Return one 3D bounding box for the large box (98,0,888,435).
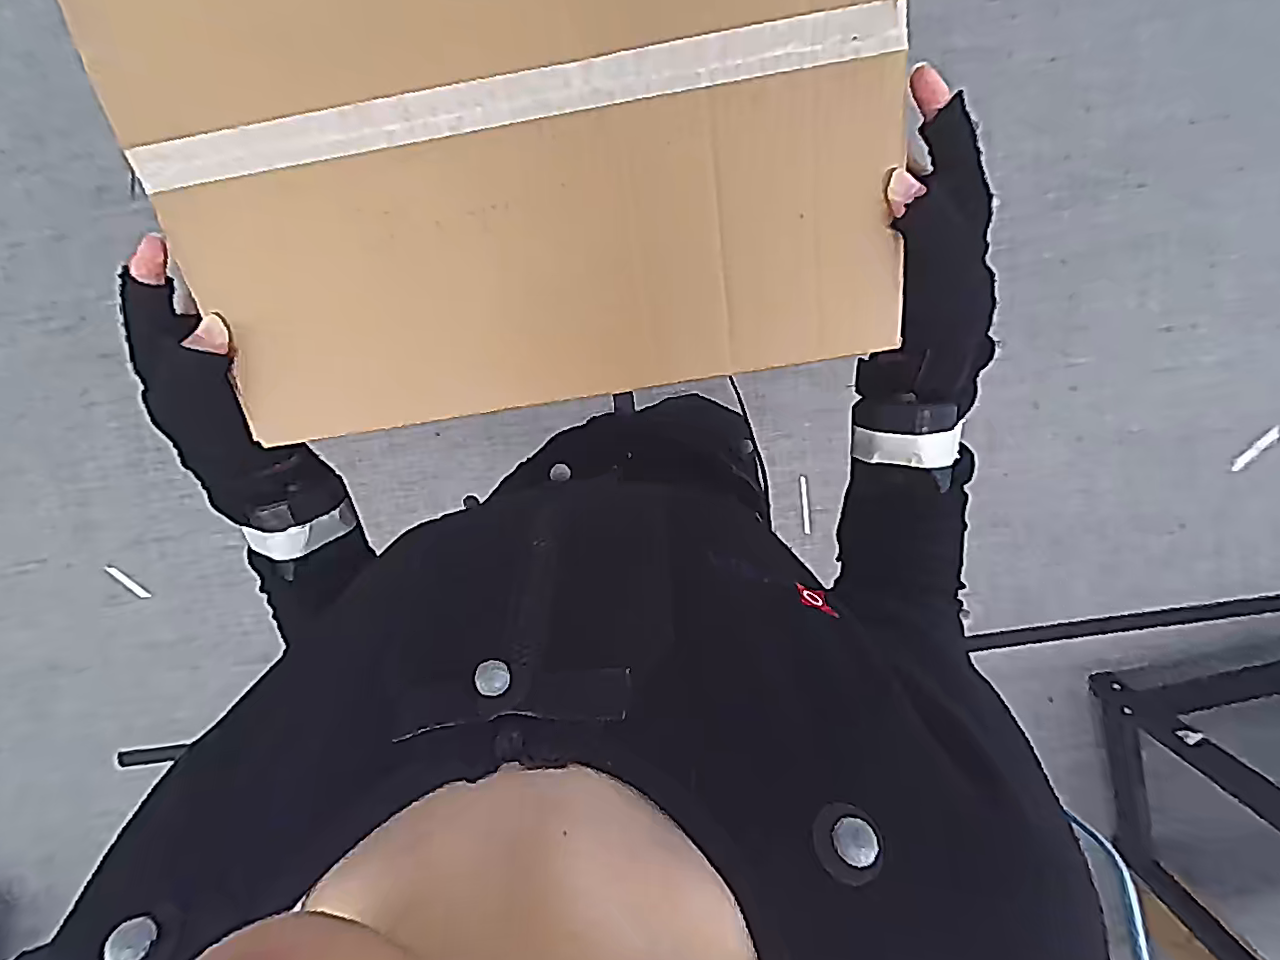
[{"bbox_3d":[-0.070,-0.254,0.431,0.408,0.320,0.320,-9,112,3],"label":"large box"}]
